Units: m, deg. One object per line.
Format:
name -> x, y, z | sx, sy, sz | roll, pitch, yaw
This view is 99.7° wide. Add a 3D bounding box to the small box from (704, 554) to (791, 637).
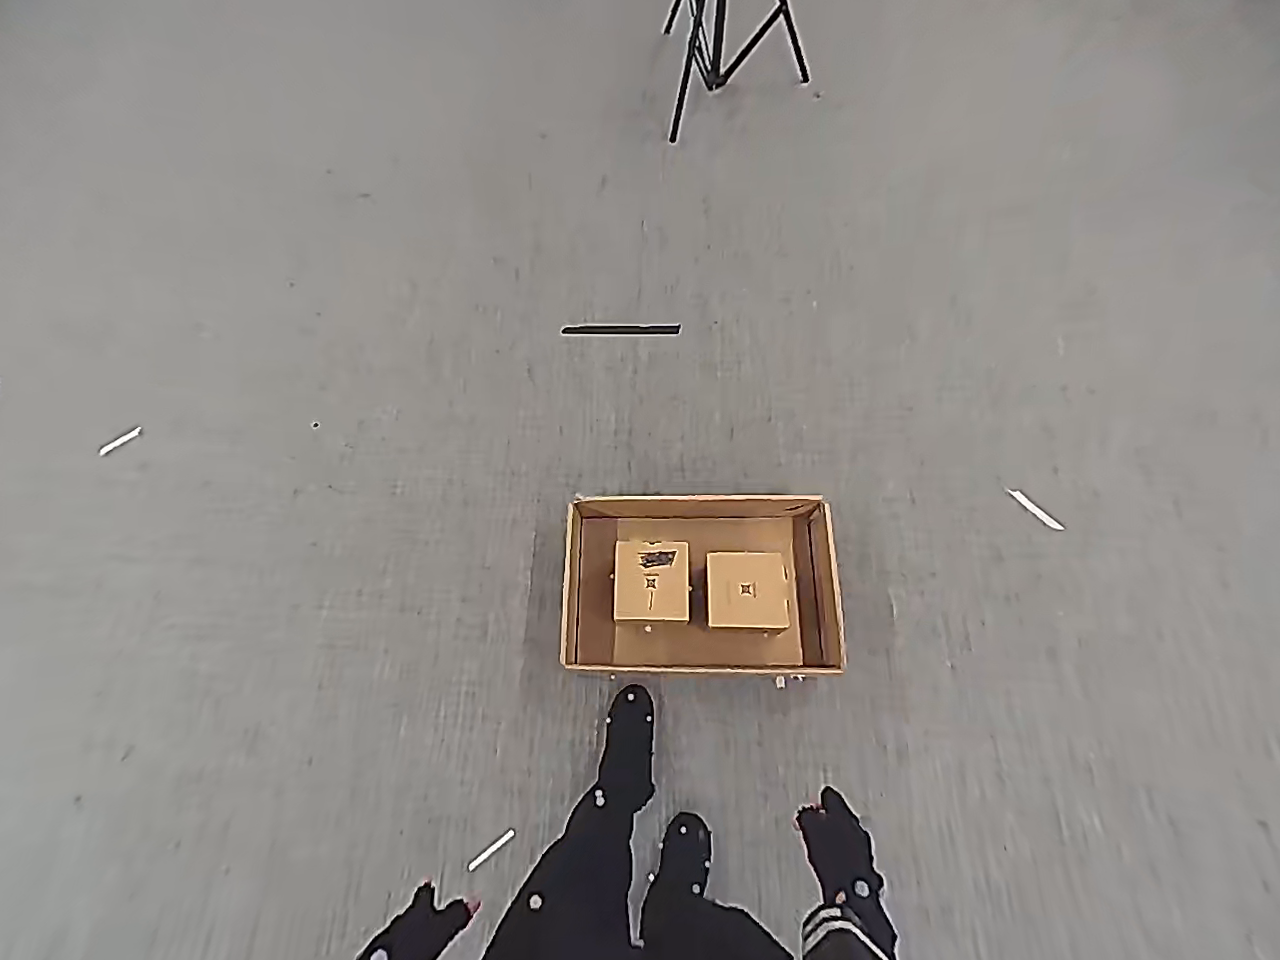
small box -> 0.243, 0.273, 1.260 | 0.179, 0.176, 0.168 | 0, 69, 4
